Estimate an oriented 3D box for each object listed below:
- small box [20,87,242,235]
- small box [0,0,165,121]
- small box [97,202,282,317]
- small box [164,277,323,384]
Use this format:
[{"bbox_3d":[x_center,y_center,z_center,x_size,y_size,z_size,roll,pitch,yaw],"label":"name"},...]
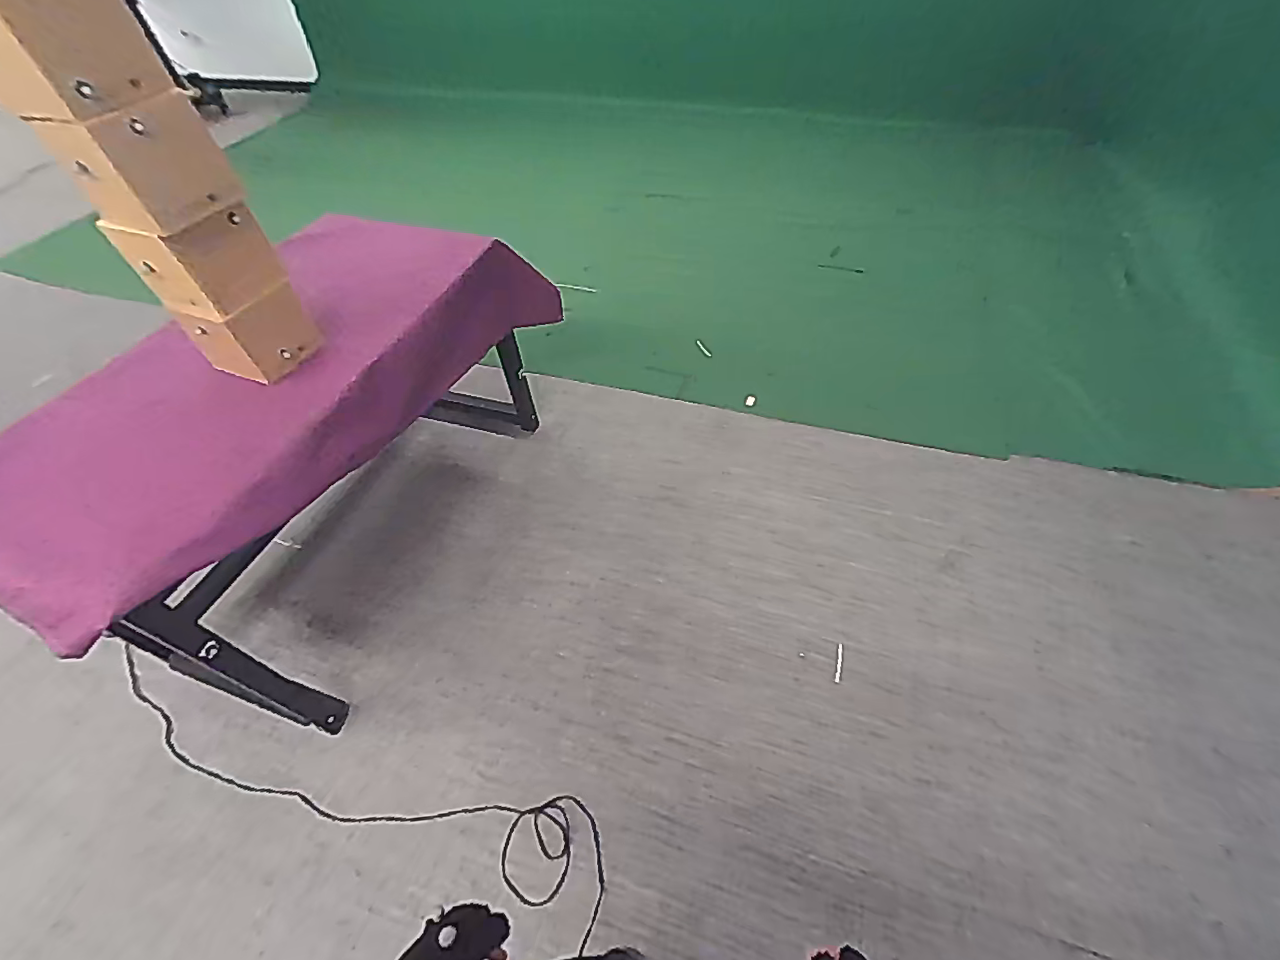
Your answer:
[{"bbox_3d":[-0.832,-0.532,0.901,0.179,0.176,0.168,18,55,18],"label":"small box"},{"bbox_3d":[-0.856,-0.637,0.775,0.179,0.176,0.168,14,53,16],"label":"small box"},{"bbox_3d":[-0.844,-0.436,1.035,0.168,0.176,0.179,16,54,16],"label":"small box"},{"bbox_3d":[-0.836,-0.330,1.156,0.179,0.176,0.168,17,55,16],"label":"small box"}]
